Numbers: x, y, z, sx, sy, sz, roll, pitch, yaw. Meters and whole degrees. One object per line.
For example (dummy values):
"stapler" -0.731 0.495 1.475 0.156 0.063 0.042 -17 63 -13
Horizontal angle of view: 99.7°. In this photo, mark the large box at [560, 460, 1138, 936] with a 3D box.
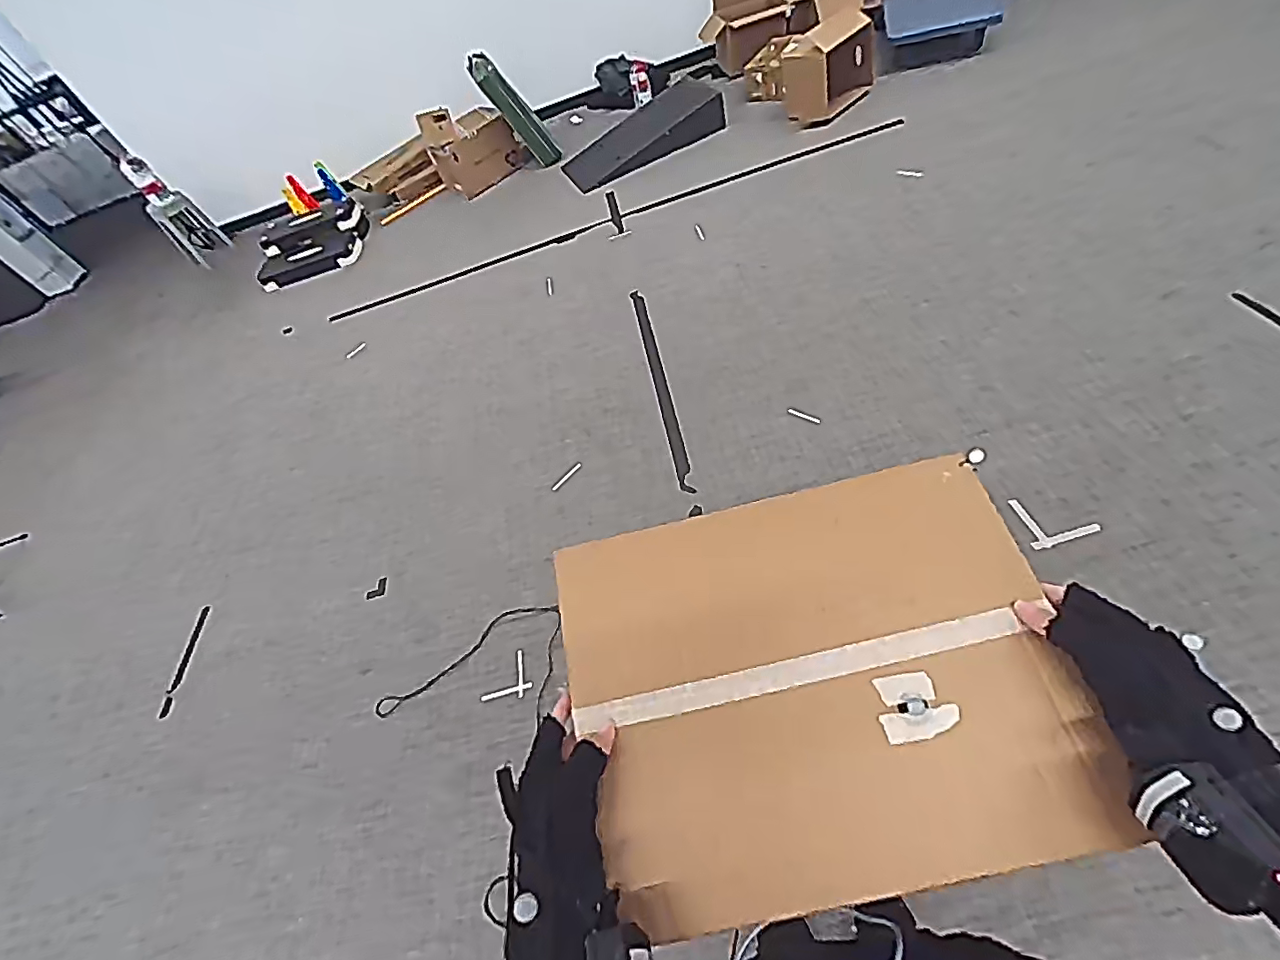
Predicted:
"large box" 0.161 0.227 0.596 0.408 0.320 0.320 -14 62 2
